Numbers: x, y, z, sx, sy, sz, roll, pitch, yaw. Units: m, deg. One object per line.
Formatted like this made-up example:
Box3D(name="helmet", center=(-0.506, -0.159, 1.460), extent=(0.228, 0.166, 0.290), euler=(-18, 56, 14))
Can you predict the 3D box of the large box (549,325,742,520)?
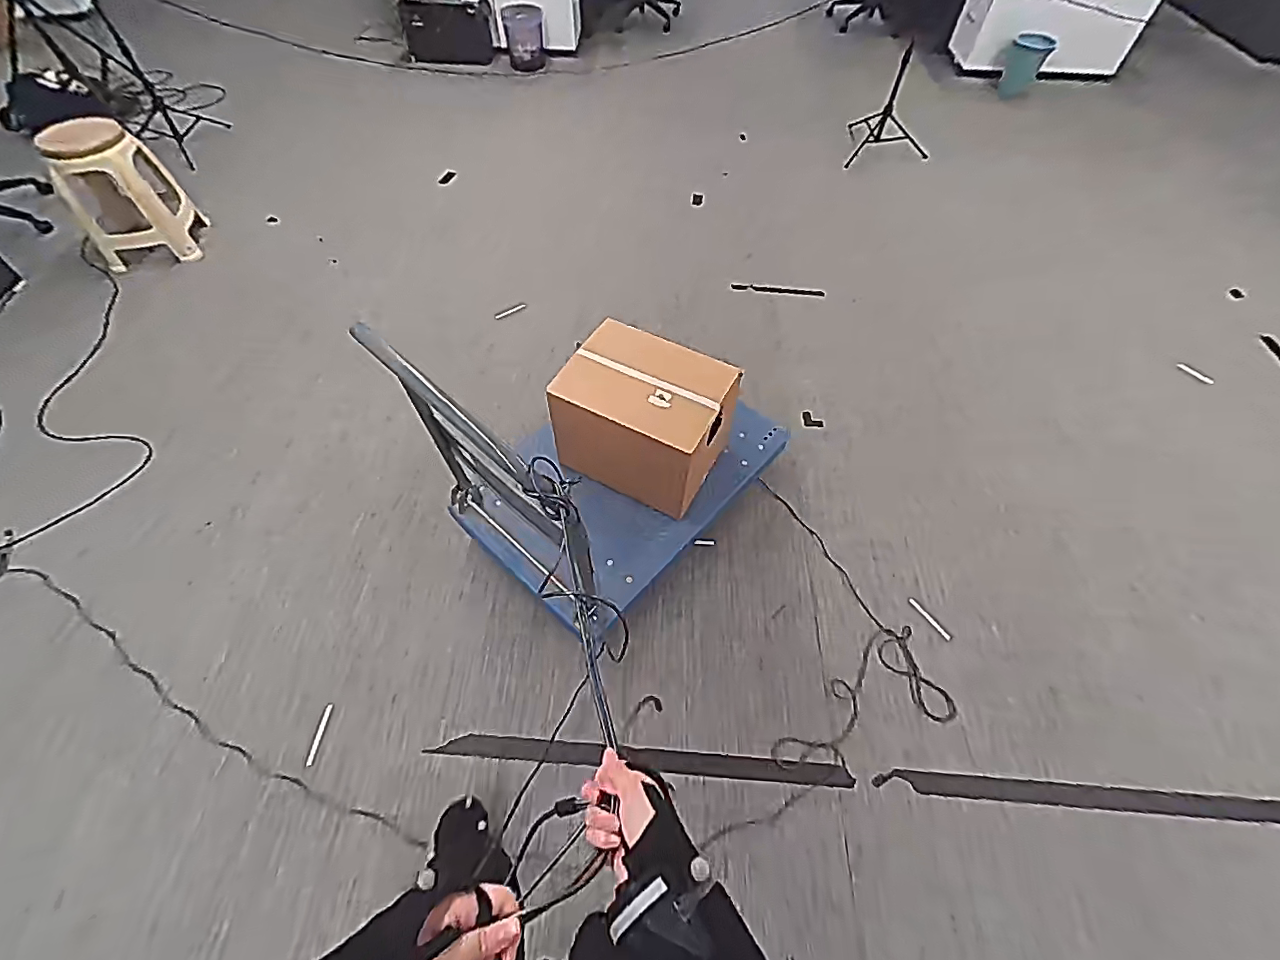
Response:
Box3D(name="large box", center=(0.011, -0.155, 1.479), extent=(0.408, 0.320, 0.320), euler=(25, 59, 14))
